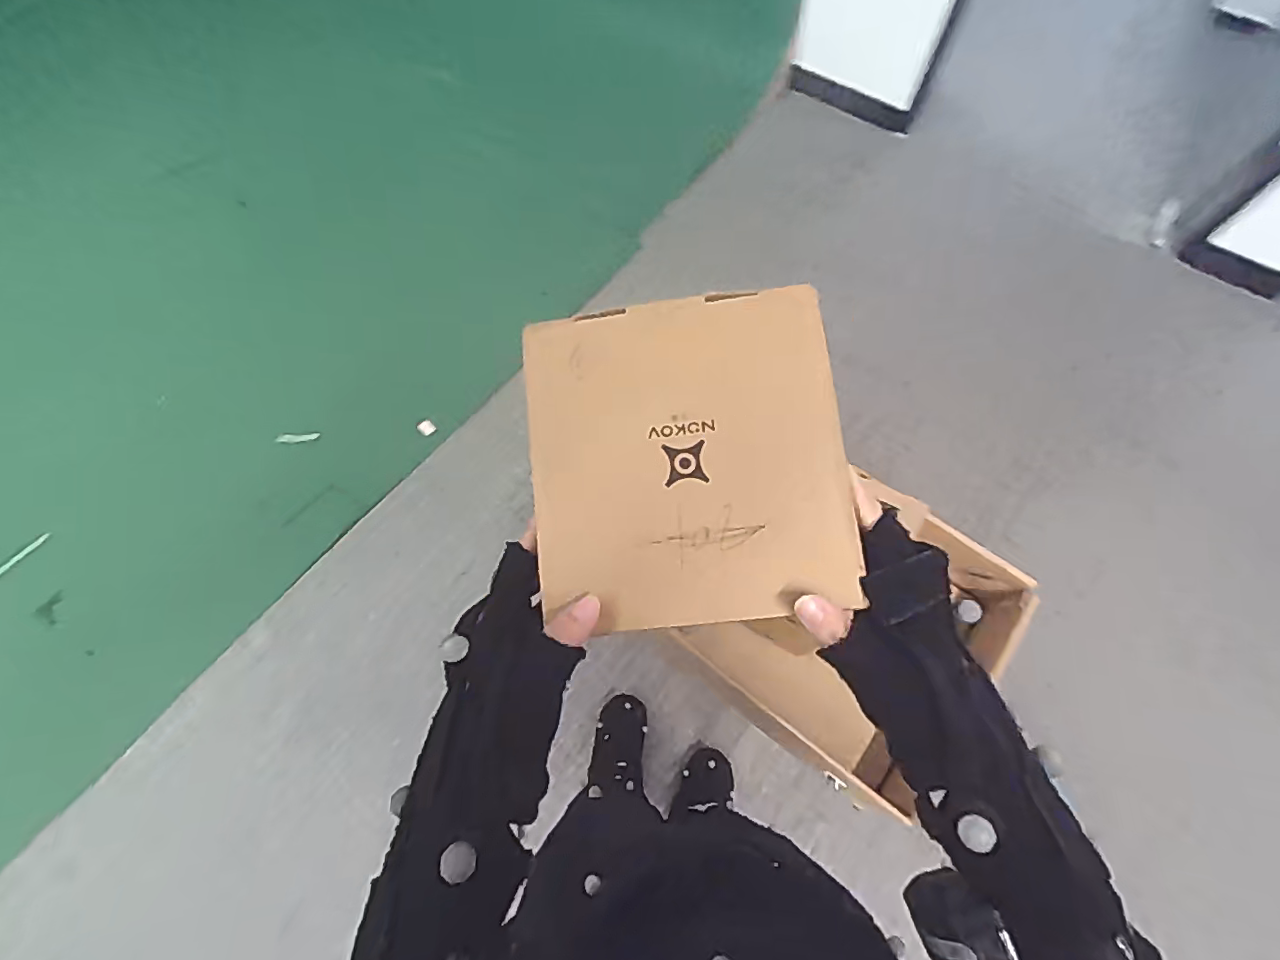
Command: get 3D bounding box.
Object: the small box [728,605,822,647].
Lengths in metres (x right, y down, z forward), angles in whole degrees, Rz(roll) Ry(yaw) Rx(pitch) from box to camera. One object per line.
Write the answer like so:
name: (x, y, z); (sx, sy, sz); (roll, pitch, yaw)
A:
small box: (0.233, 0.146, 0.875); (0.168, 0.176, 0.179); (30, 71, 14)

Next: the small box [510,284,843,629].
small box: (0.020, -0.004, 0.371); (0.168, 0.176, 0.179); (-8, 82, 4)

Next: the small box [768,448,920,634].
small box: (0.230, 0.083, 0.723); (0.168, 0.176, 0.179); (31, 73, 14)
